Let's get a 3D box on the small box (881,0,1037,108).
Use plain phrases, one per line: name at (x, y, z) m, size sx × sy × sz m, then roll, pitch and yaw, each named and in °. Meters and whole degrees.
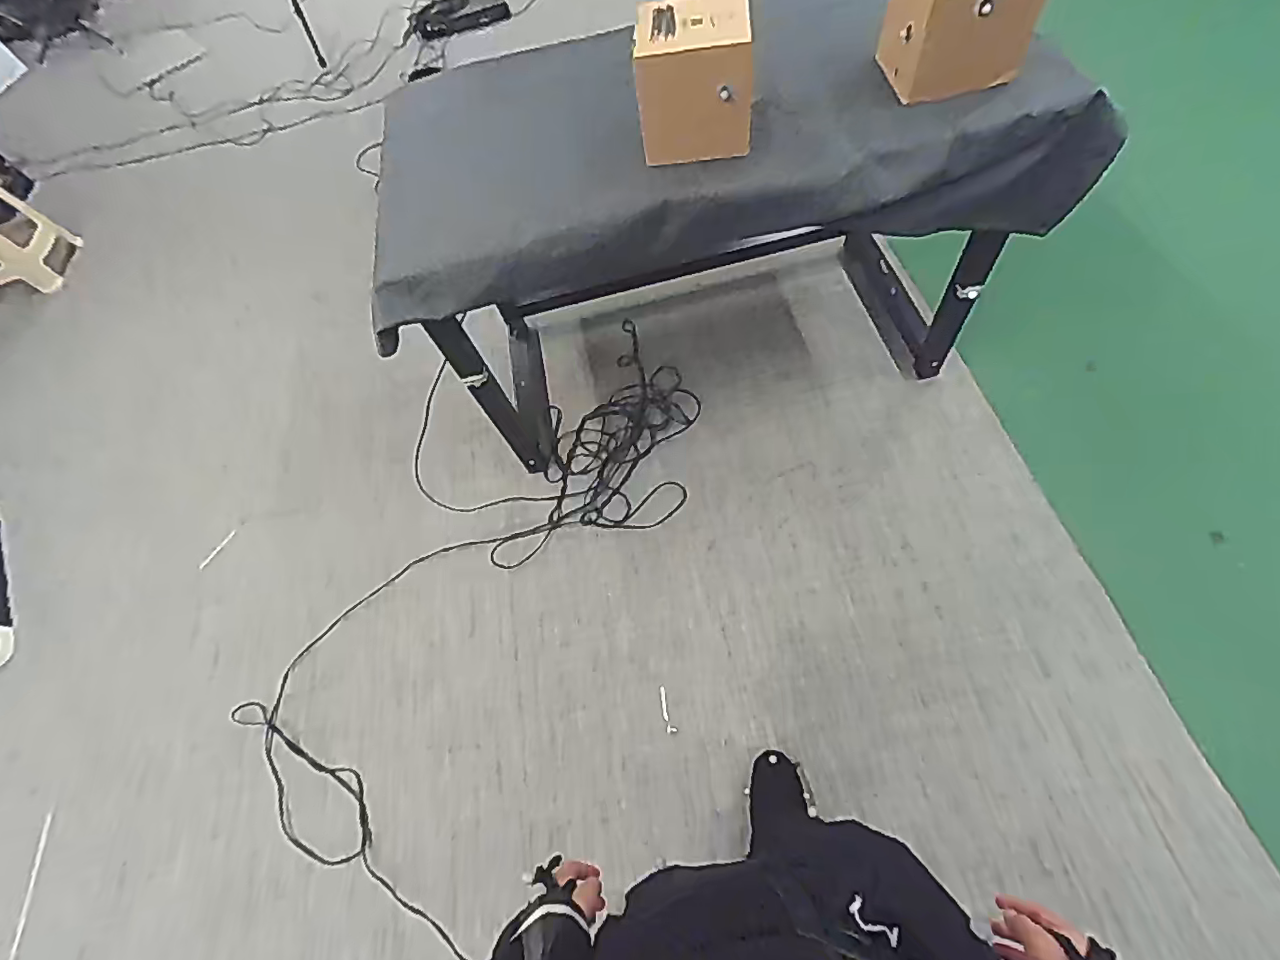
small box at (0.505, -0.737, 0.869) m, size 0.179 × 0.176 × 0.168 m, roll -9°, pitch 62°, yaw 5°
